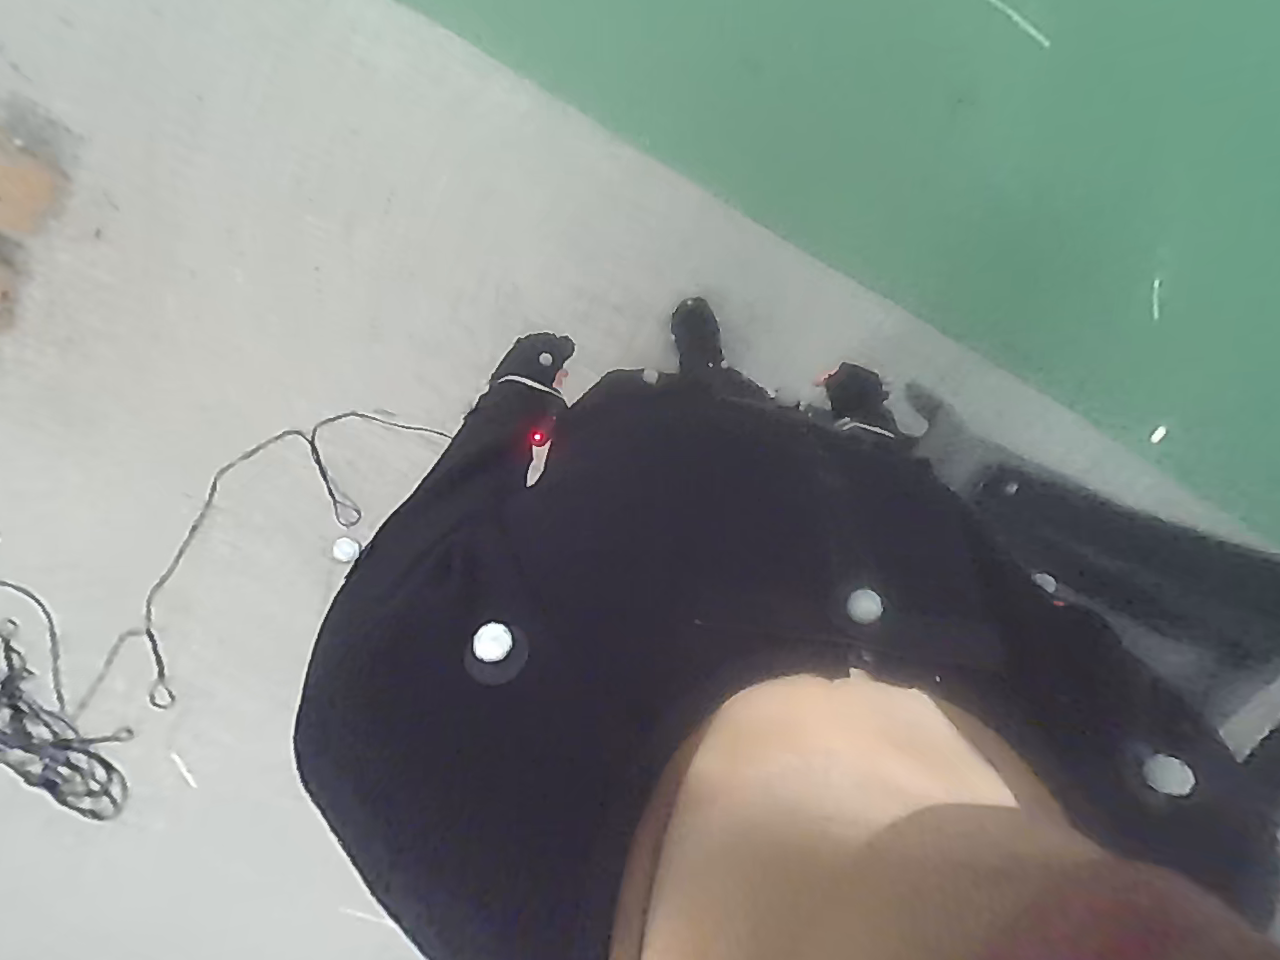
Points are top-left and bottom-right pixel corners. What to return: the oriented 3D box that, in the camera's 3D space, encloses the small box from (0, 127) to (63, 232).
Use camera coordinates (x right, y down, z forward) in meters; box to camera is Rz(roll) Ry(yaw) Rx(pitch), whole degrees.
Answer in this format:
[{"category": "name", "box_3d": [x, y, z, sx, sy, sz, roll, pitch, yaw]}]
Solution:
[{"category": "small box", "box_3d": [-1.458, -0.680, 1.190, 0.168, 0.176, 0.179, 41, 98, -11]}]
